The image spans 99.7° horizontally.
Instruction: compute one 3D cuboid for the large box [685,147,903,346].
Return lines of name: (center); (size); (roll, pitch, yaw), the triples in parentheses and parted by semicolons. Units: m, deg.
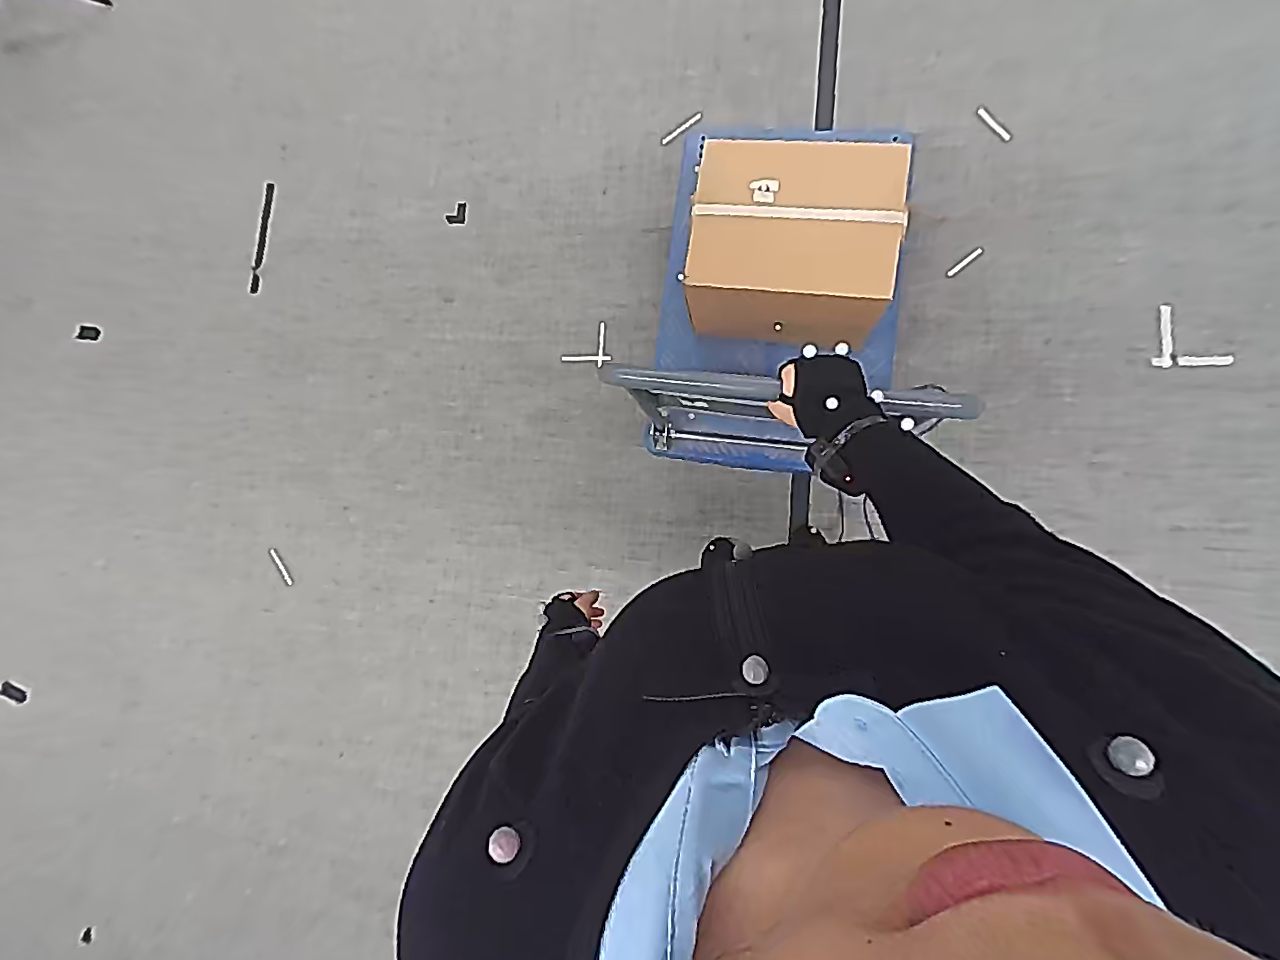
large box: (0.336, -0.509, 1.231); (0.408, 0.320, 0.320); (7, 85, 12)
